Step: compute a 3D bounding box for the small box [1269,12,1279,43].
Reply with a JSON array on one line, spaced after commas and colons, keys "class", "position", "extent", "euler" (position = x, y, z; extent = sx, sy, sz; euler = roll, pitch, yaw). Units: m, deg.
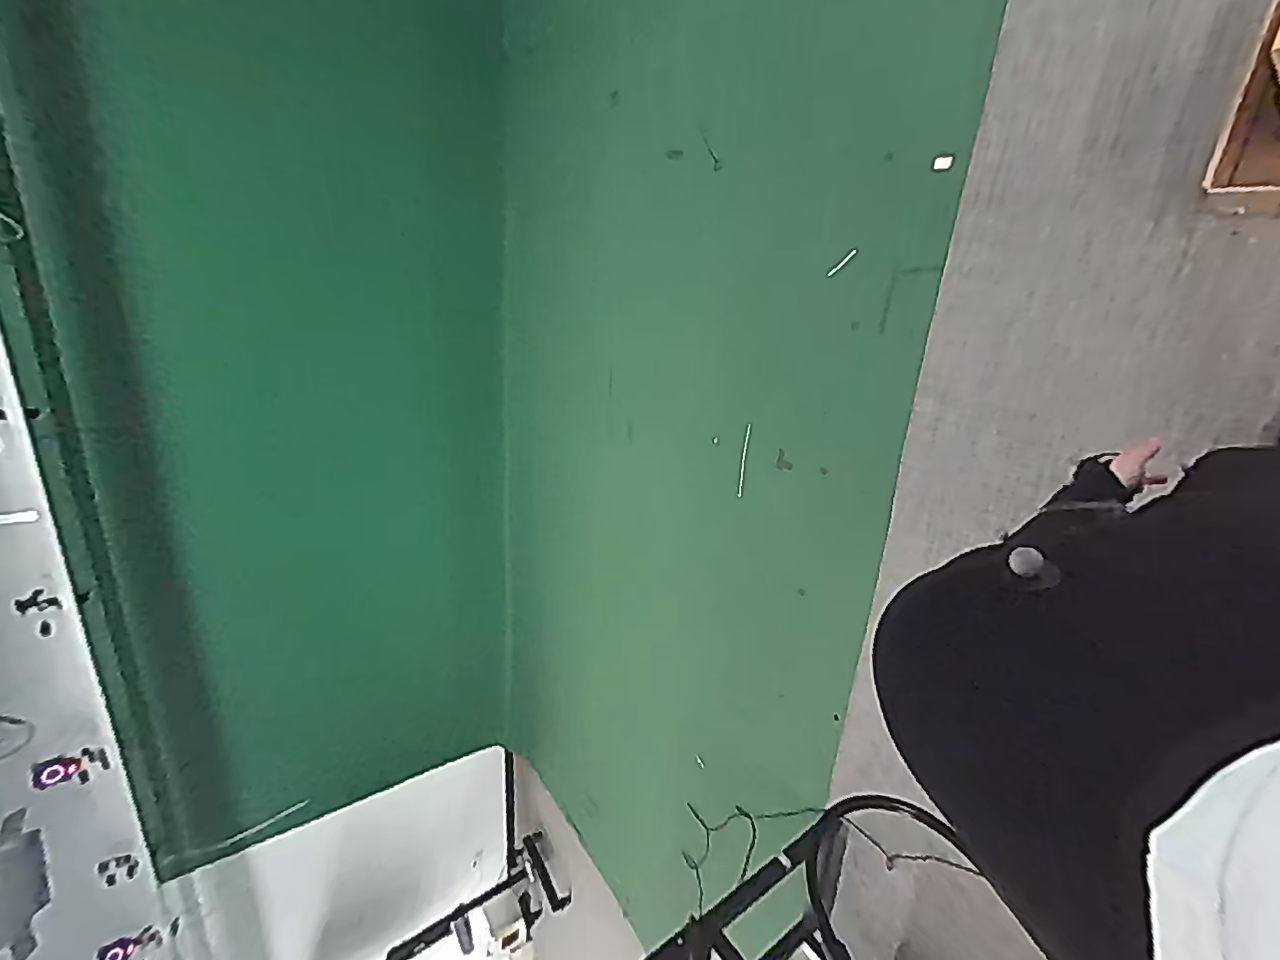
[{"class": "small box", "position": [0.924, -0.614, 0.645], "extent": [0.179, 0.176, 0.168], "euler": [28, 120, 48]}]
